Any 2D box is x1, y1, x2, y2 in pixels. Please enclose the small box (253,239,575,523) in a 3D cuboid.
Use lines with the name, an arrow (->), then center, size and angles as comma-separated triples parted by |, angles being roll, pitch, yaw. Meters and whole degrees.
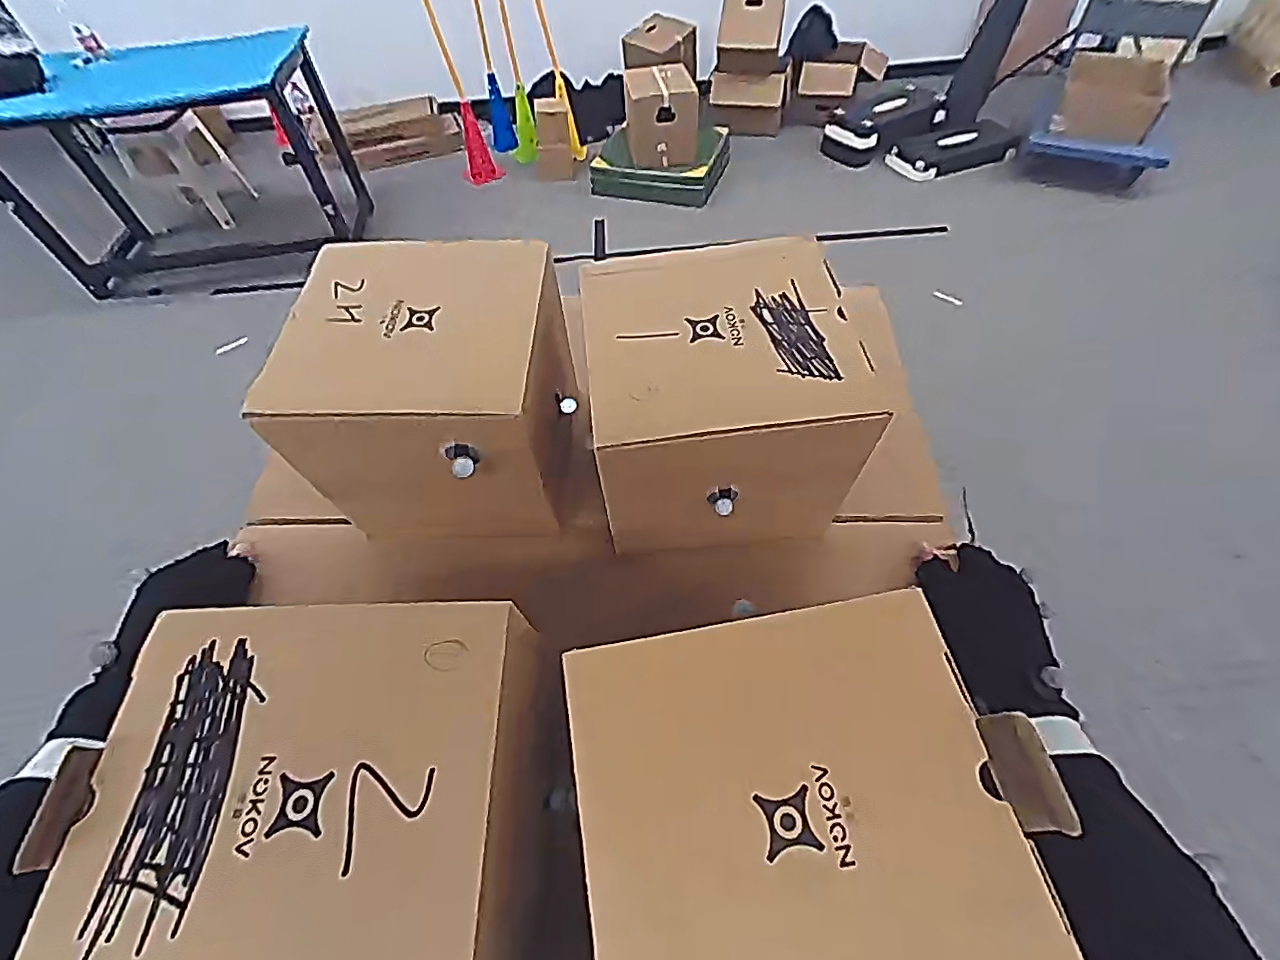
small box -> -0.154, -0.073, 0.447 | 0.179, 0.176, 0.168 | 1, 59, 3
